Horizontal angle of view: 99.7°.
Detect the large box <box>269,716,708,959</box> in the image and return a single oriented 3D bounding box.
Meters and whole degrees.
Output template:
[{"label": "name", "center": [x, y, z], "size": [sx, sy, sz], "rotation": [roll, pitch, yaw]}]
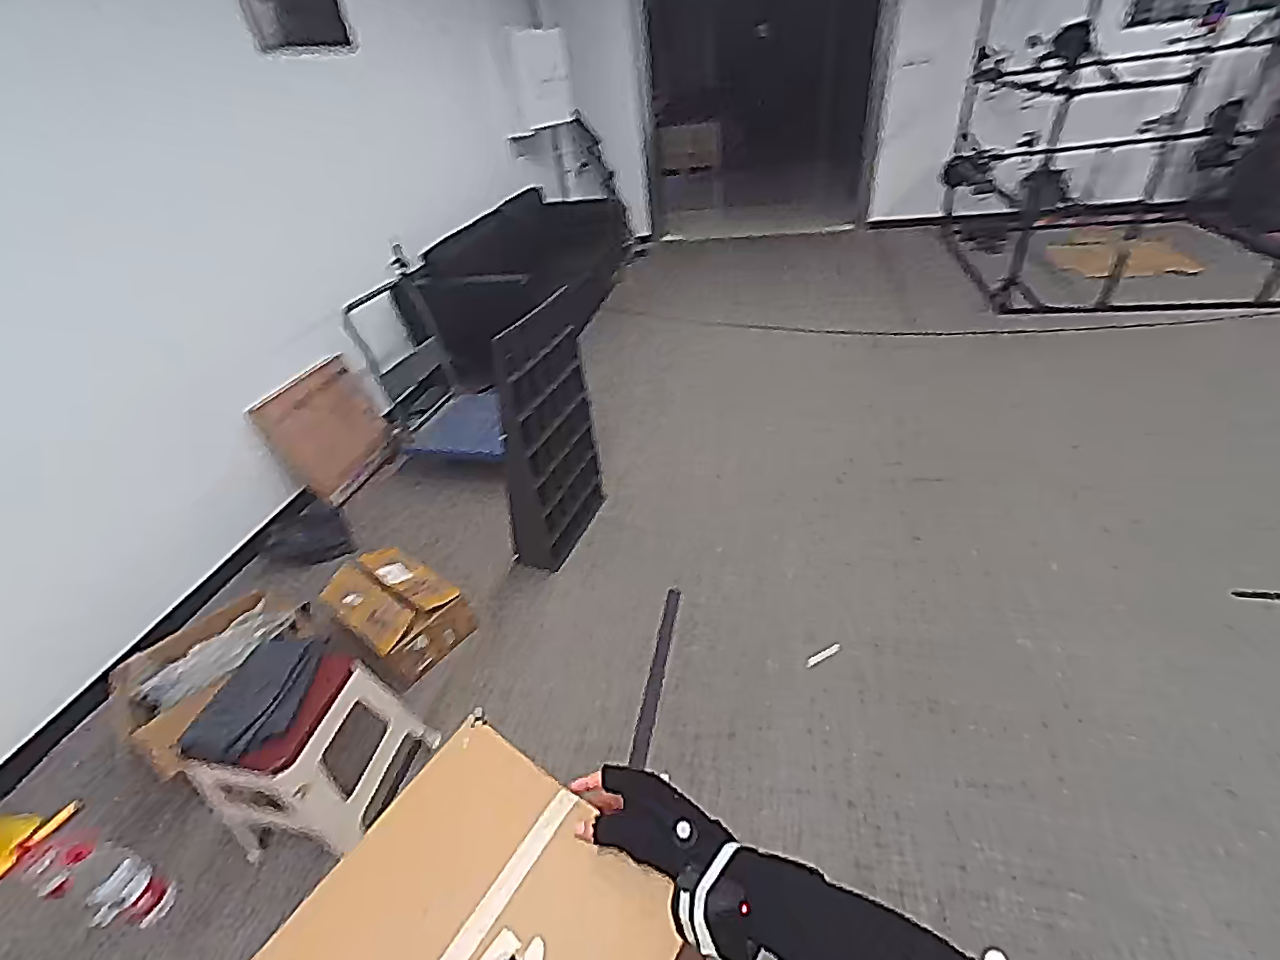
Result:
[{"label": "large box", "center": [-0.160, 0.559, 0.563], "size": [0.320, 0.320, 0.408], "rotation": [22, 49, 29]}]
